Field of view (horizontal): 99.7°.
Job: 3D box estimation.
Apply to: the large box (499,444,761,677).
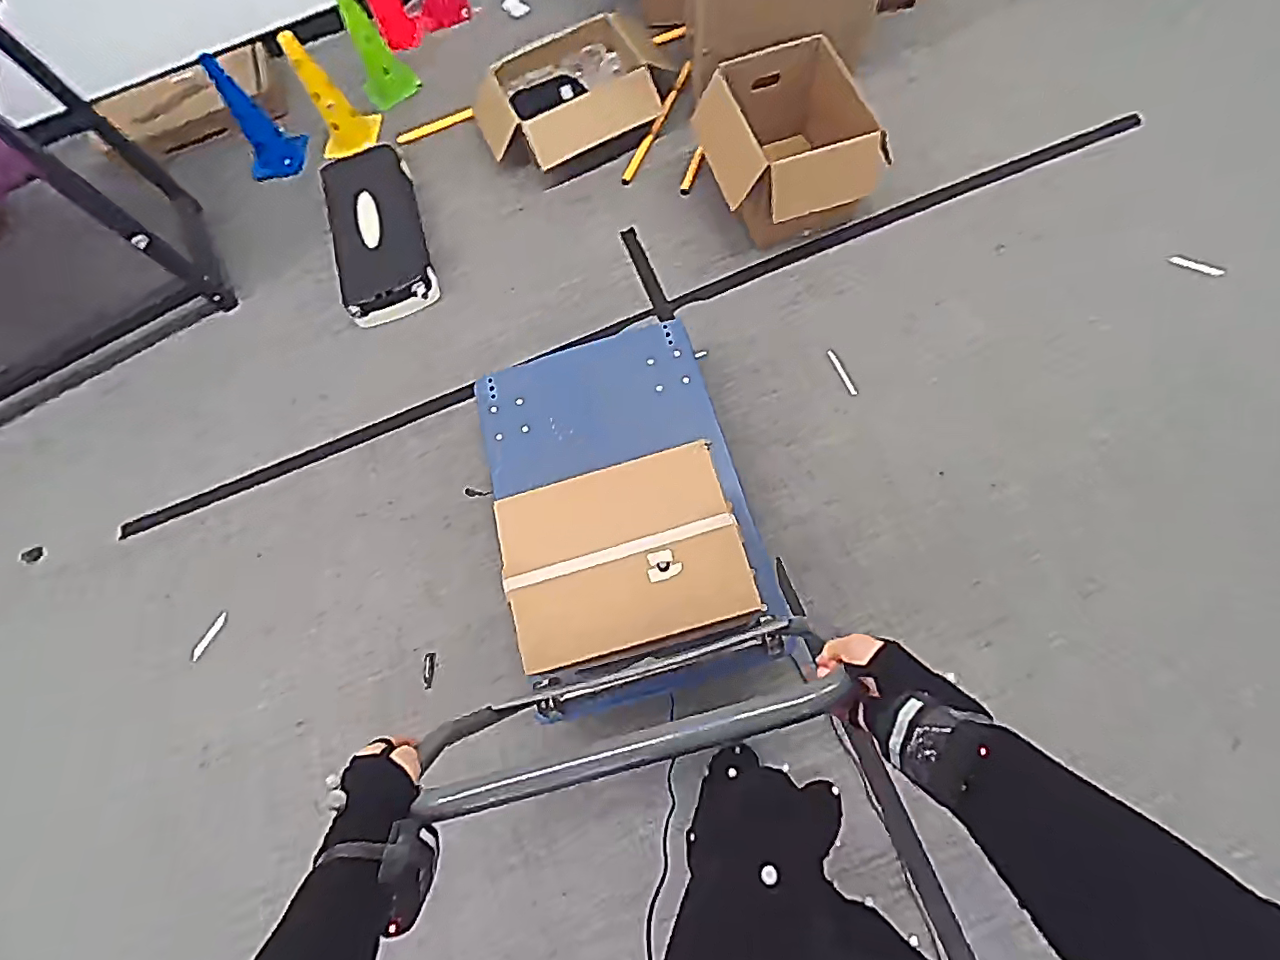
[{"bbox_3d":[-0.014,0.178,1.076,0.408,0.320,0.320,-17,71,1],"label":"large box"}]
